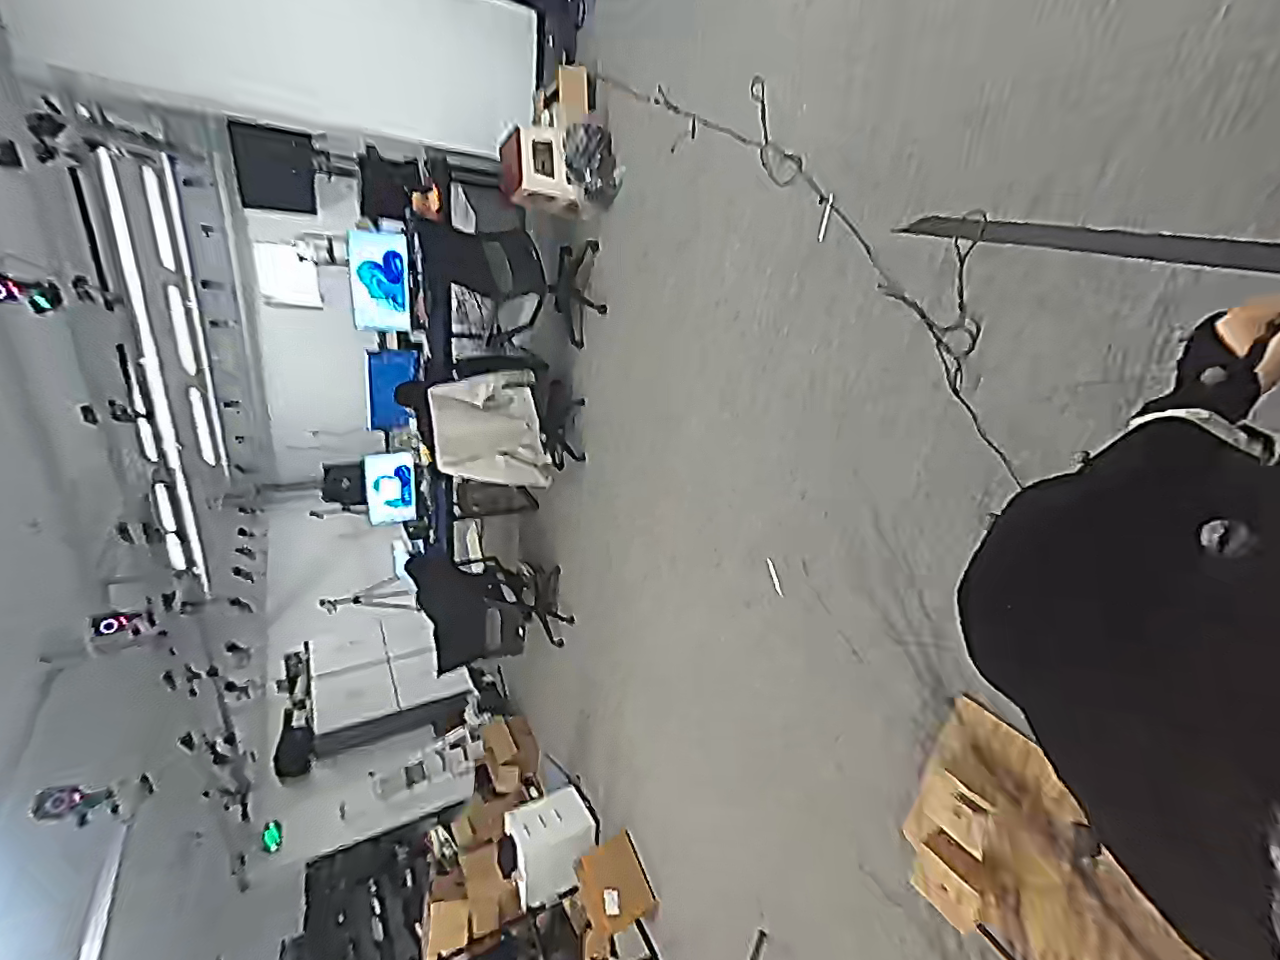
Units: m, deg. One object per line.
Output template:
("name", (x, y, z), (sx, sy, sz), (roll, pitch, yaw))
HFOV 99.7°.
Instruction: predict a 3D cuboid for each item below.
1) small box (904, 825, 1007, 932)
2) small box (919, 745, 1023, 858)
("small box", (0.900, 1.119, 1.548), (0.179, 0.176, 0.168), (30, 123, 52))
("small box", (0.907, 0.867, 1.479), (0.168, 0.176, 0.179), (33, 124, 52))
